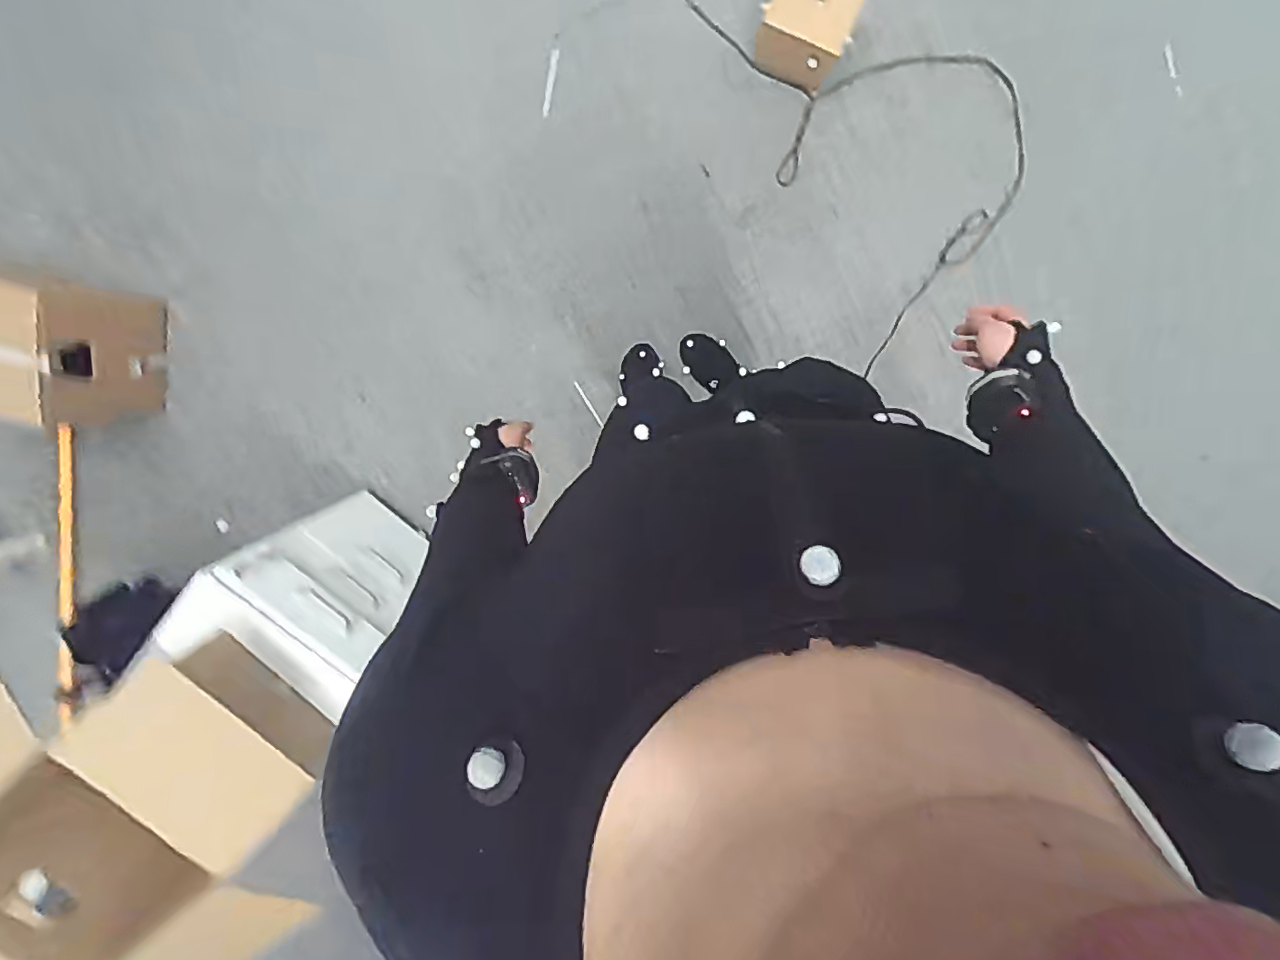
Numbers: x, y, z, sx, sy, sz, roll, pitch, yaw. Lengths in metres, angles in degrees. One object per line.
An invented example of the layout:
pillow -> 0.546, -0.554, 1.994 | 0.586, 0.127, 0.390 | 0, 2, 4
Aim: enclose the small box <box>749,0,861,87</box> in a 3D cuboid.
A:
small box -> 0.349, -0.974, 1.140 | 0.179, 0.176, 0.168 | 21, 104, -2
